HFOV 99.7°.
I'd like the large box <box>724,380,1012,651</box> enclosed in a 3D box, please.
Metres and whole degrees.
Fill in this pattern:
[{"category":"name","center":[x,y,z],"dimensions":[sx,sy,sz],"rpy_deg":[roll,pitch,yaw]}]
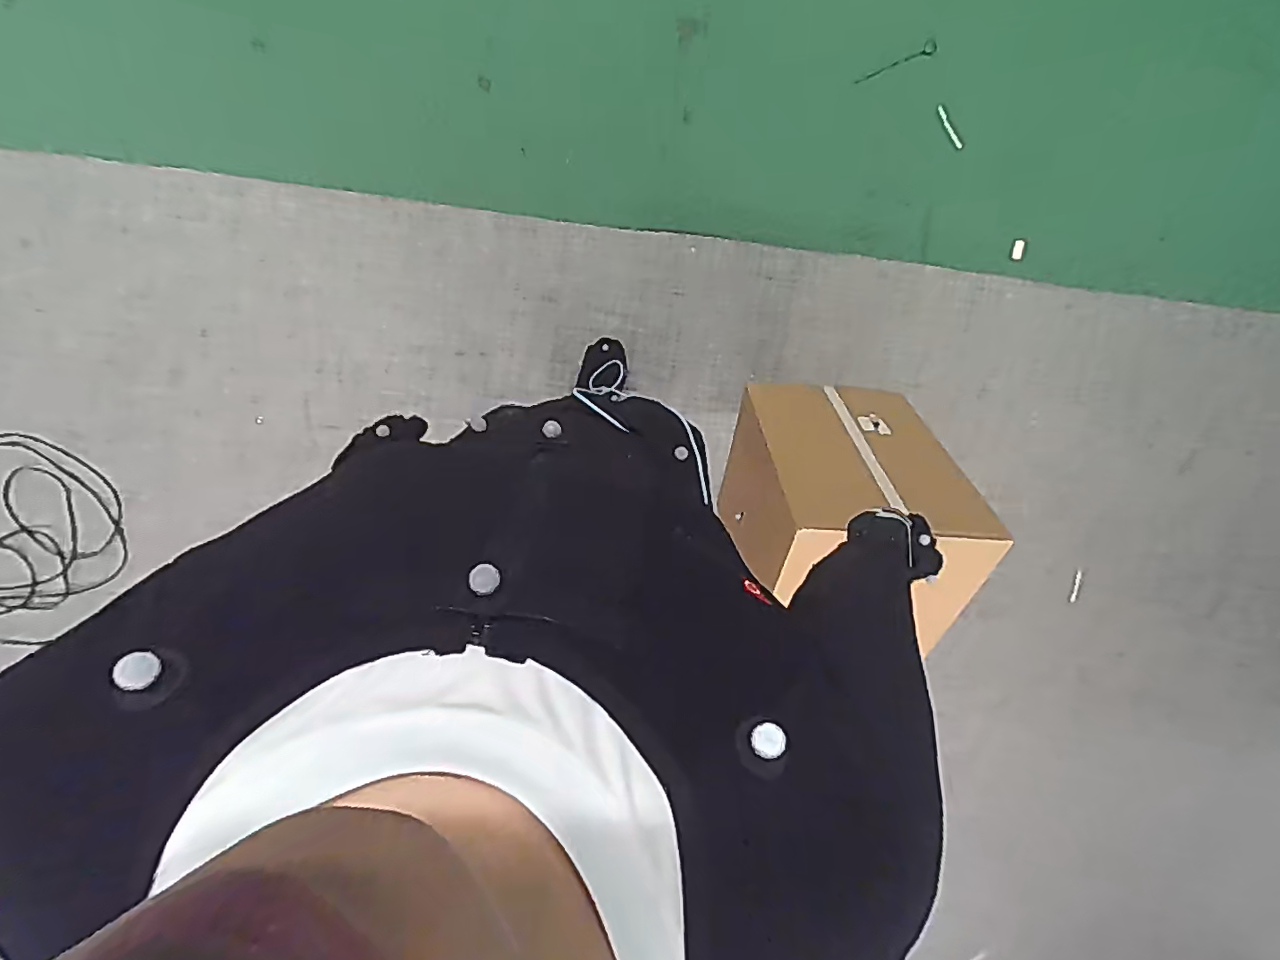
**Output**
[{"category":"large box","center":[0.355,0.056,0.990],"dimensions":[0.320,0.408,0.320],"rpy_deg":[4,128,-5]}]
